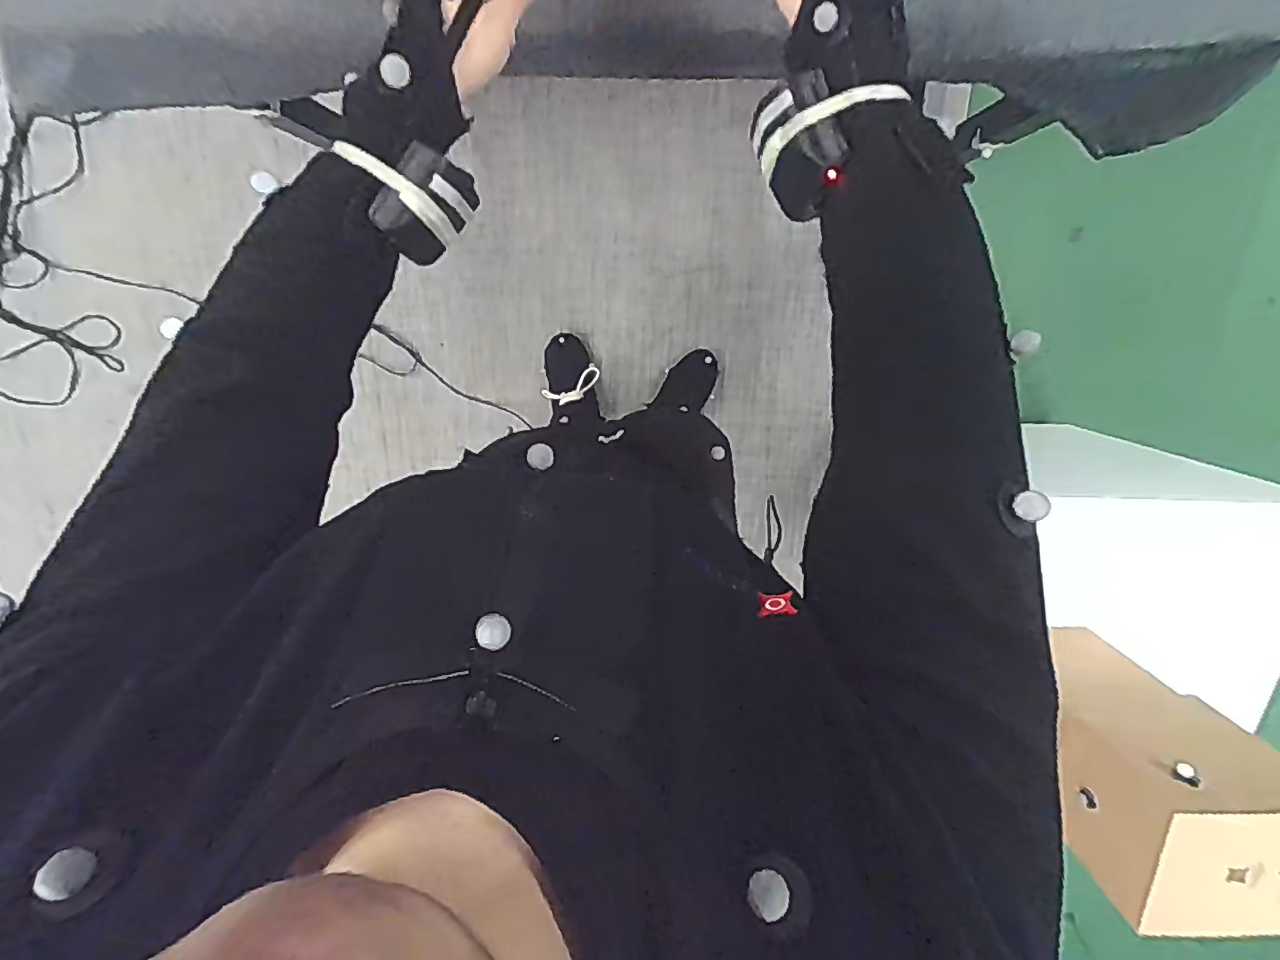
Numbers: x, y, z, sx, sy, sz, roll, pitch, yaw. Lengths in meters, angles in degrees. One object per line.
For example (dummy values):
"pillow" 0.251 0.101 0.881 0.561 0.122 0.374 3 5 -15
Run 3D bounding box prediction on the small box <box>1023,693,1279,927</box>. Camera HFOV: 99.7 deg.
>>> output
"small box" 0.591 0.368 0.625 0.179 0.176 0.168 -2 107 1
